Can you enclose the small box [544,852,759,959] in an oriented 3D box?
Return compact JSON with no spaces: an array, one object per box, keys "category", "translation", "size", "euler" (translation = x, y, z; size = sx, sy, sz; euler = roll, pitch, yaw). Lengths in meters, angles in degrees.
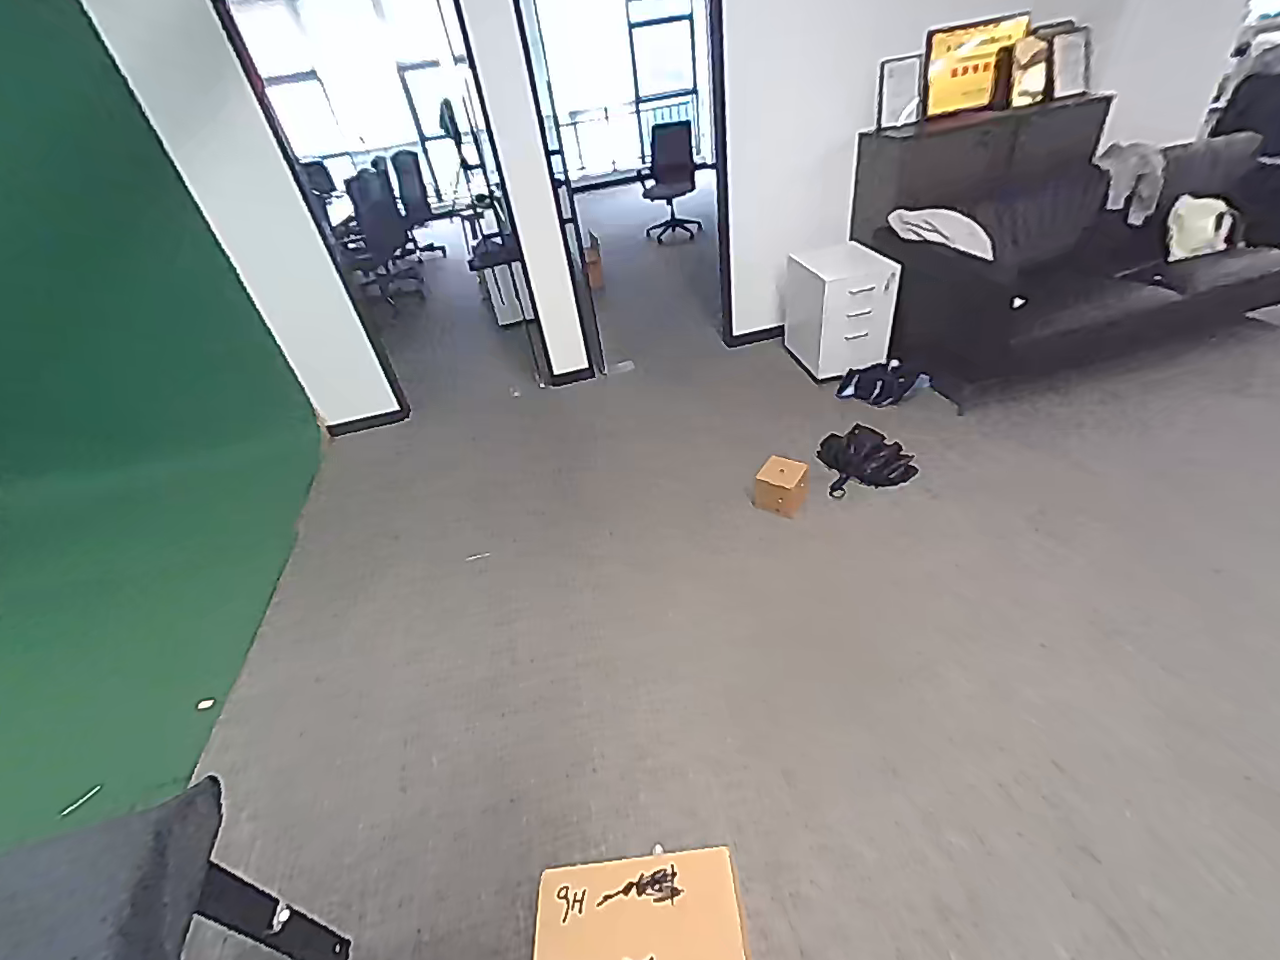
[{"category":"small box","translation":[0.020,0.438,0.439],"size":[0.168,0.176,0.179],"euler":[-9,38,3]}]
